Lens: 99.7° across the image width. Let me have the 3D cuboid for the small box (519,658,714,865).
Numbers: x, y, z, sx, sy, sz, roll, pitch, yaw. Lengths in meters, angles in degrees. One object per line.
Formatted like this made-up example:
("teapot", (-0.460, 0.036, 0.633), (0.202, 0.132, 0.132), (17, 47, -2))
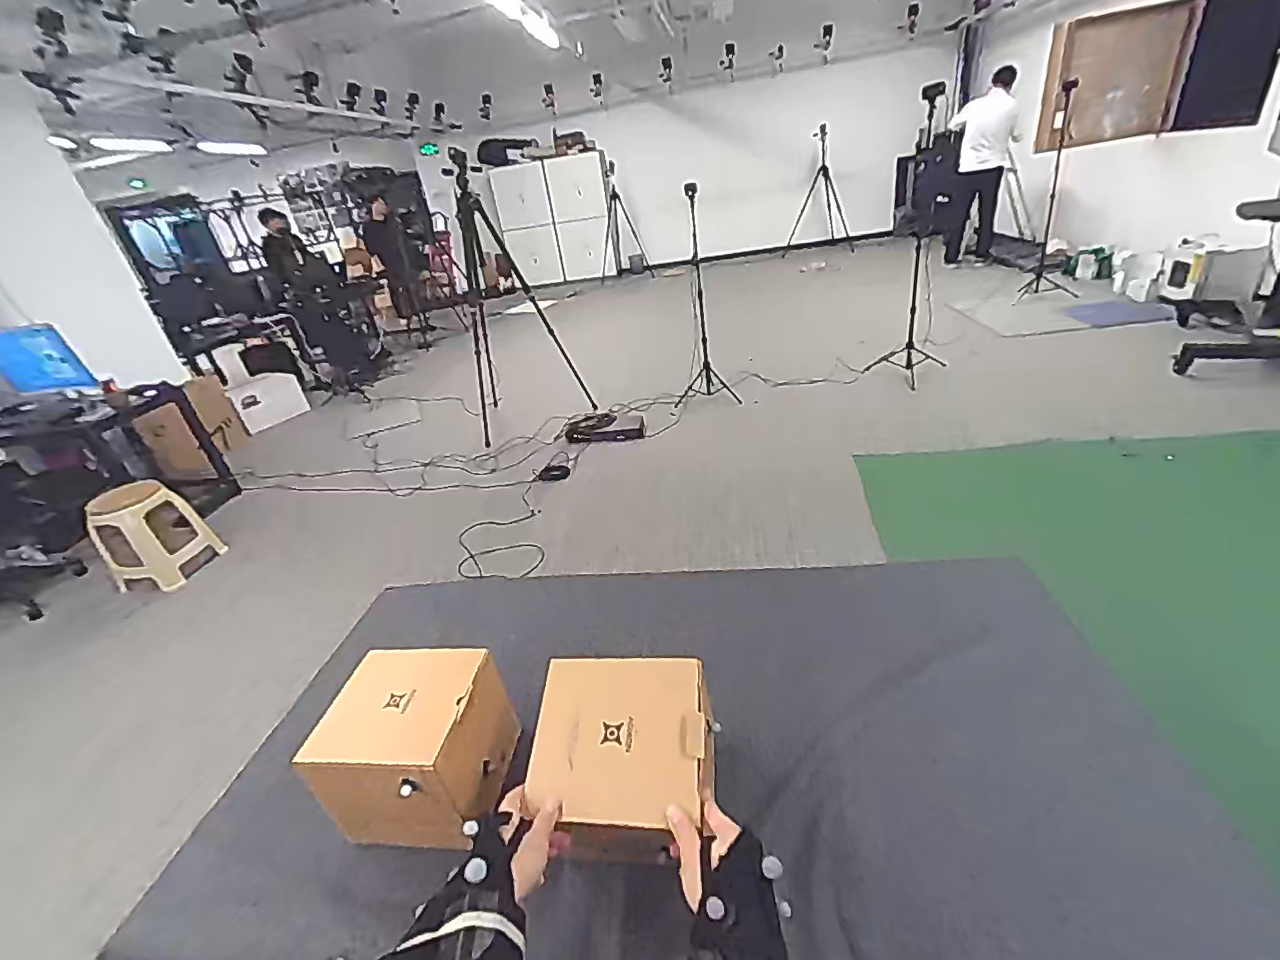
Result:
("small box", (-0.009, 0.315, 0.607), (0.179, 0.176, 0.168), (-5, 44, 11))

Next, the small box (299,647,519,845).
("small box", (-0.278, 0.338, 0.694), (0.179, 0.176, 0.168), (-4, 29, 10))
